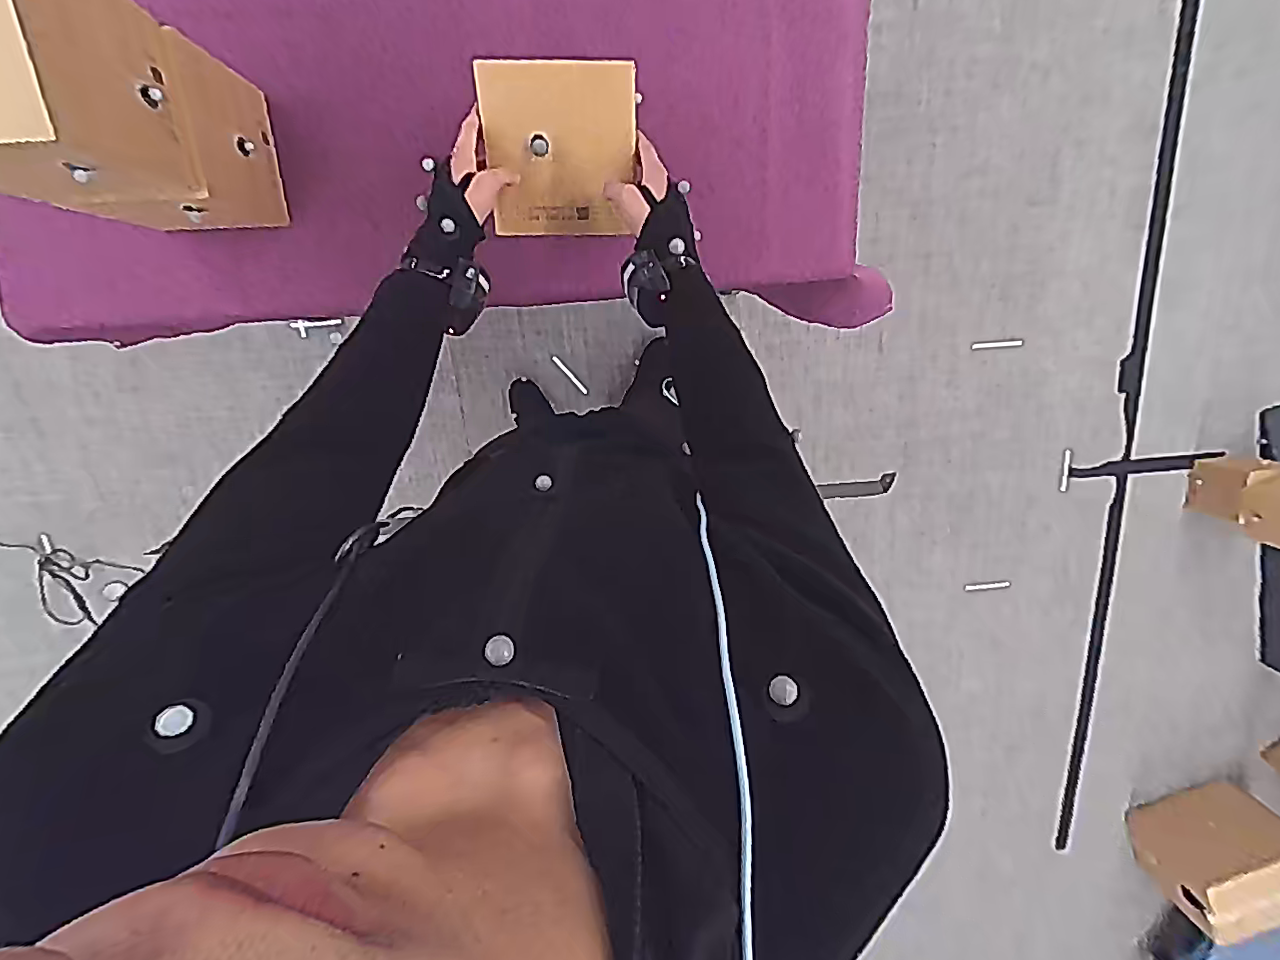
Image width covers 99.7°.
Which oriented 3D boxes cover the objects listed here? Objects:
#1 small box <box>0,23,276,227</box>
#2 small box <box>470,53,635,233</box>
[{"bbox_3d":[-0.576,-0.410,0.652,0.179,0.176,0.168,-3,106,-3],"label":"small box"},{"bbox_3d":[-0.093,-0.403,0.655,0.168,0.179,0.176,-2,124,-3],"label":"small box"}]
